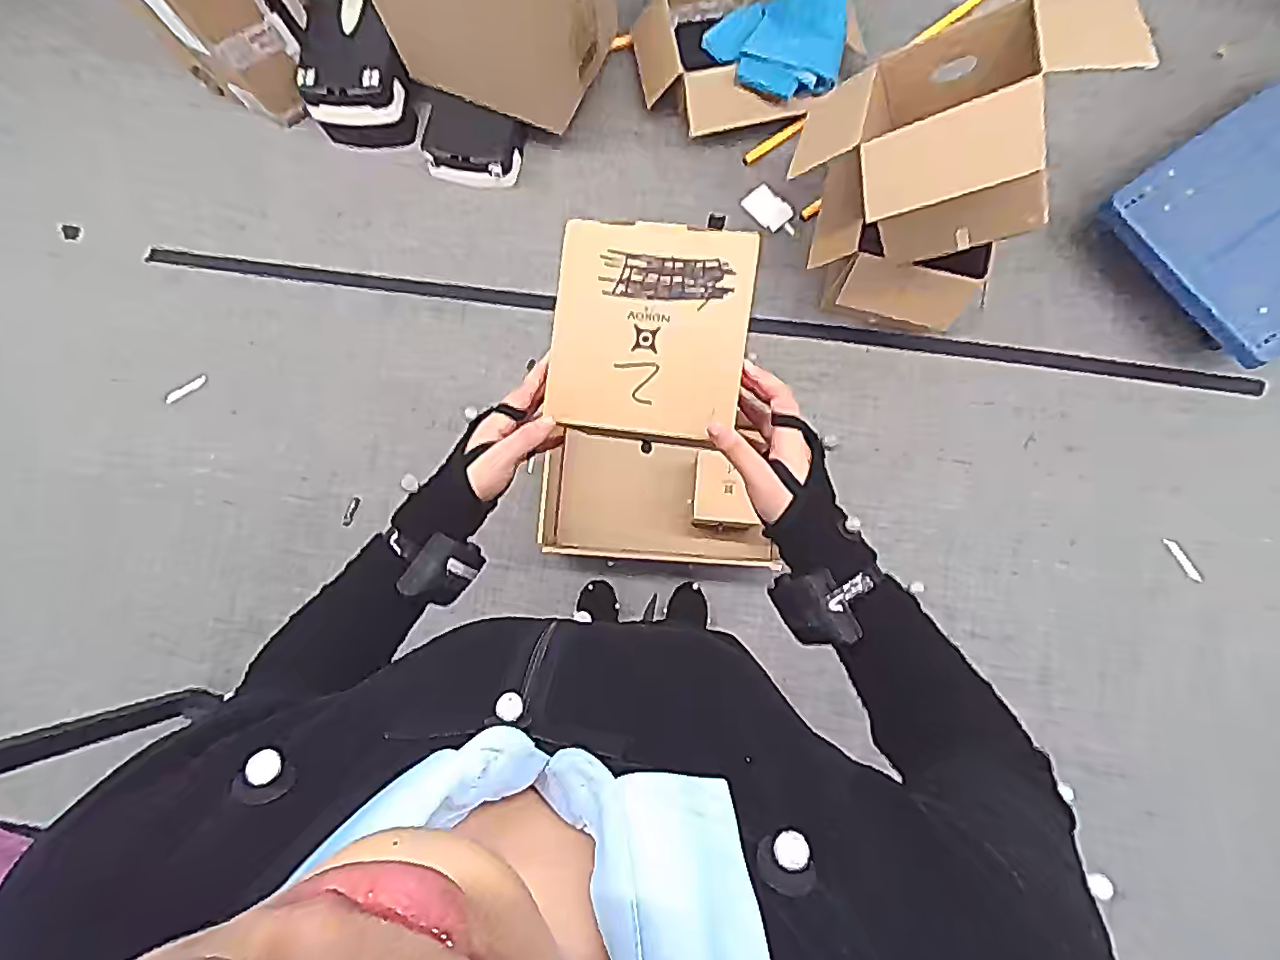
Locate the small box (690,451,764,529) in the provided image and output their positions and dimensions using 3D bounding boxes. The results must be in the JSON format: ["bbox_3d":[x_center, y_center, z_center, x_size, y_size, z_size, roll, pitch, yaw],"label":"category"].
[{"bbox_3d":[0.221,0.032,1.402,0.168,0.176,0.179,5,80,2],"label":"small box"}]
